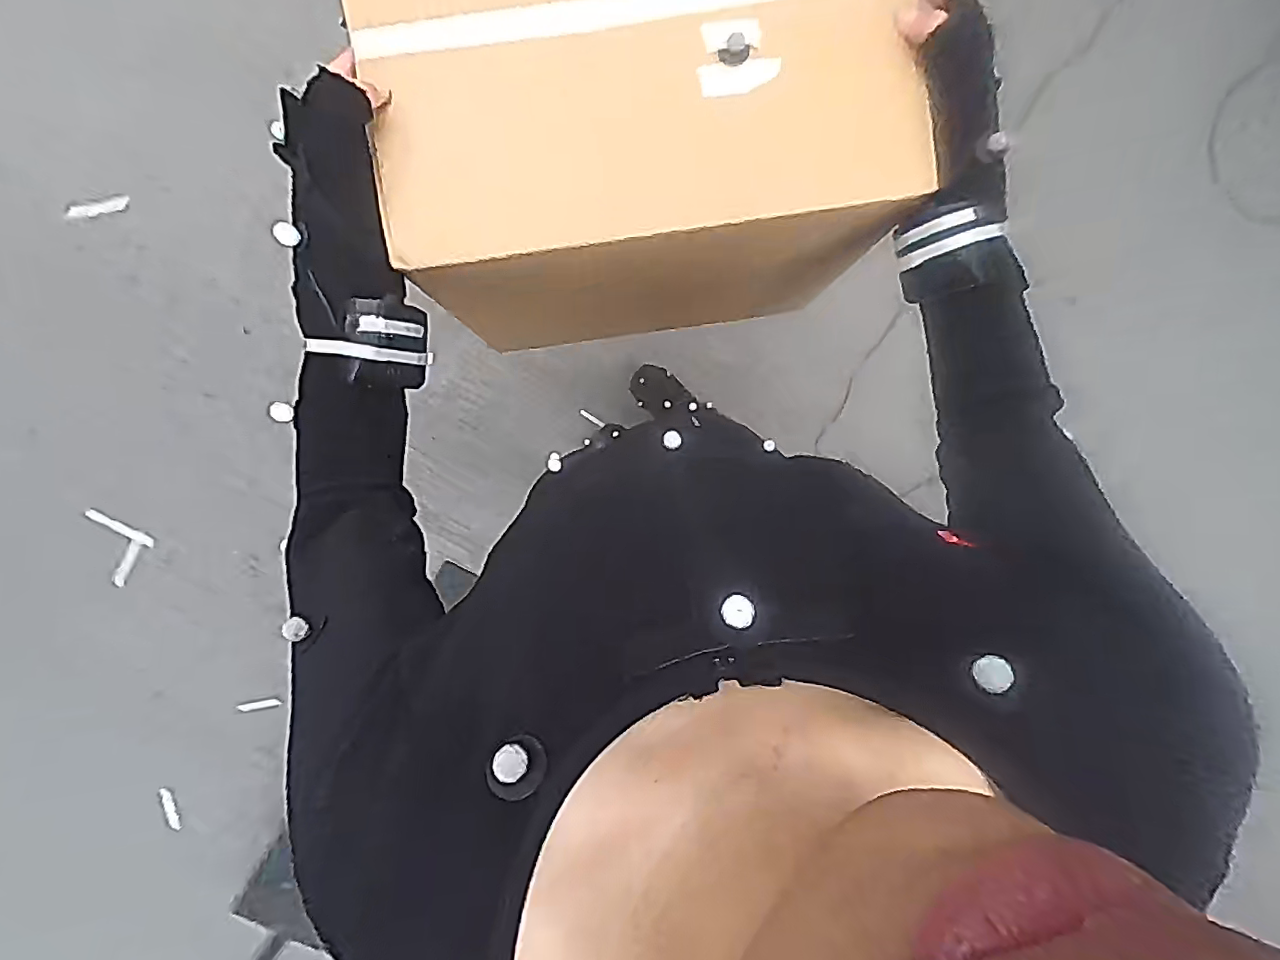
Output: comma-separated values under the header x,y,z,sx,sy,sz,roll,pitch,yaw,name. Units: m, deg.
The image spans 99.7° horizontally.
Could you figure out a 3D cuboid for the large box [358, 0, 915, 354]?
x,y,z,sx,sy,sz,roll,pitch,yaw,name
-0.013,-0.345,0.557,0.408,0.320,0.320,-10,92,-1,large box
